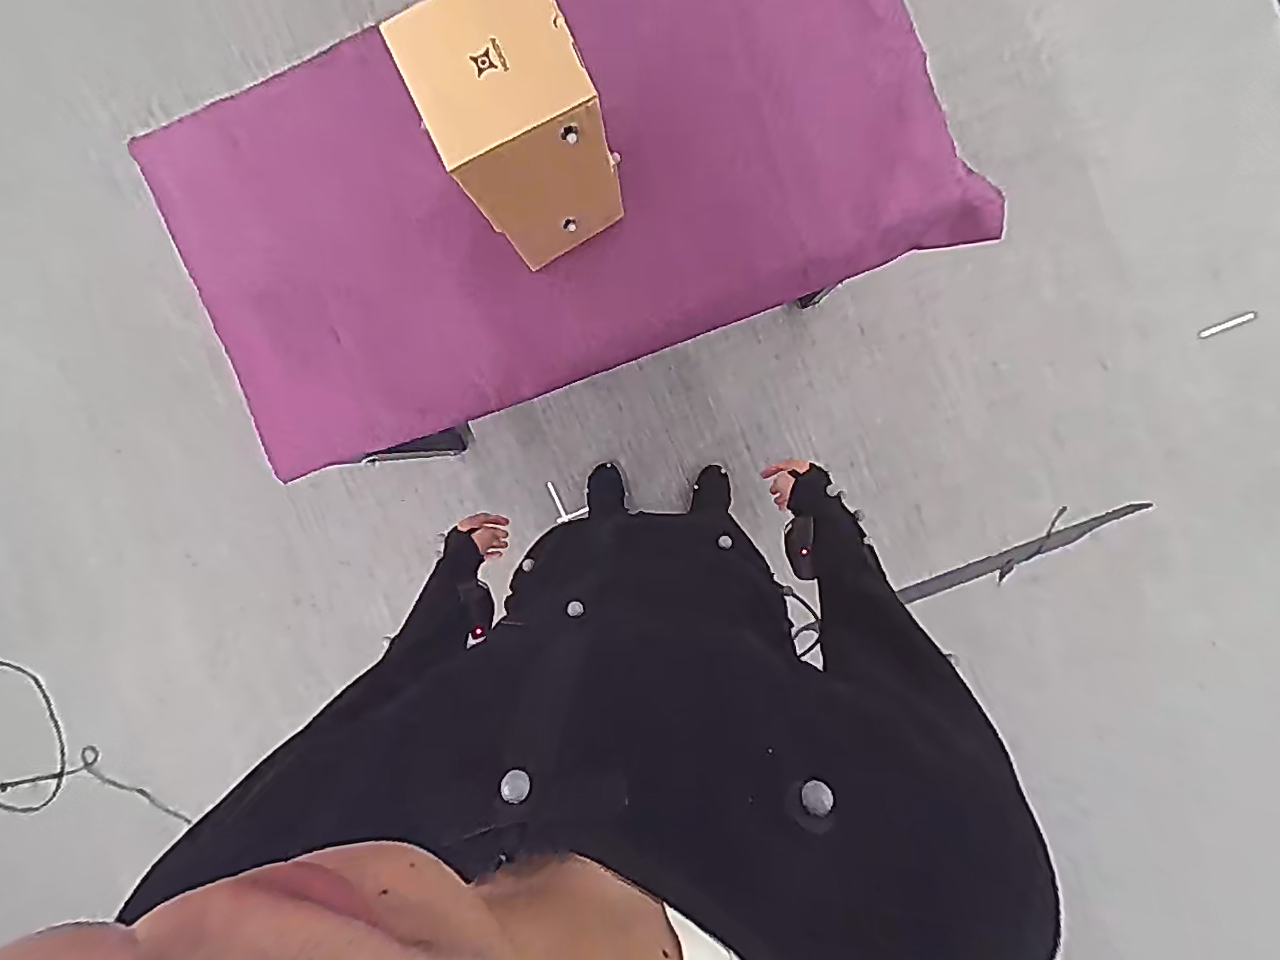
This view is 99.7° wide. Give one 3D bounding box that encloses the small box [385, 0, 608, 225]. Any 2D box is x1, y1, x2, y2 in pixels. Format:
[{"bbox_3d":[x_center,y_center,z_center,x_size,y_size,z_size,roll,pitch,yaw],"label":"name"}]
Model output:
[{"bbox_3d":[-0.151,-0.436,0.634,0.179,0.176,0.168,-25,93,3],"label":"small box"}]
